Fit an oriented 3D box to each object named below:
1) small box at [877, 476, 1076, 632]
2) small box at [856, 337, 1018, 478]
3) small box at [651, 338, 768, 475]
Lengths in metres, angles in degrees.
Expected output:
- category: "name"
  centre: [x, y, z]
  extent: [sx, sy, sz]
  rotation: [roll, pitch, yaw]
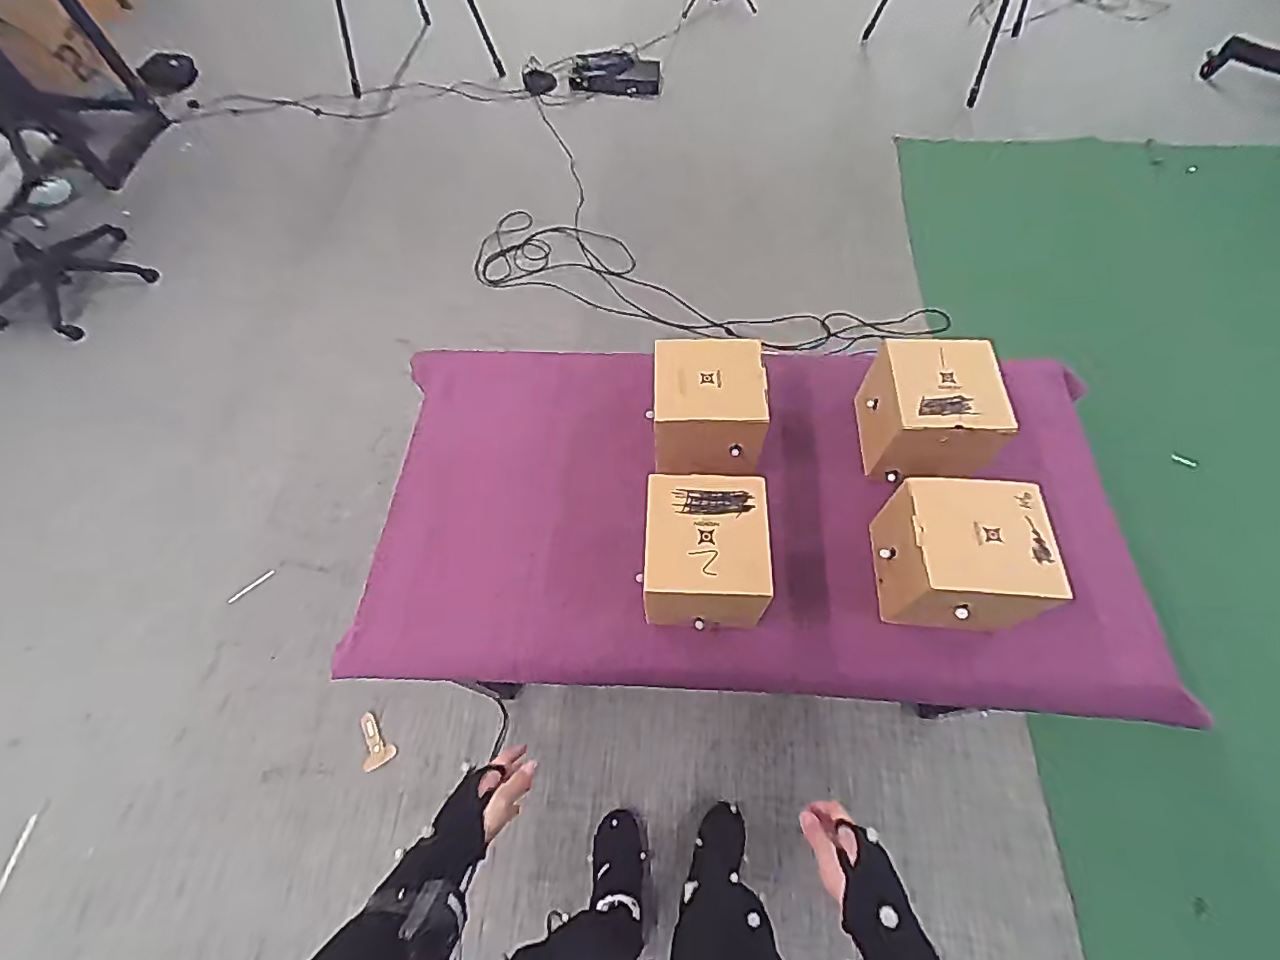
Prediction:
- category: "small box"
  centre: [0.450, 0.109, 0.764]
  extent: [0.179, 0.176, 0.168]
  rotation: [3, 61, 5]
- category: "small box"
  centre: [0.468, -0.110, 0.884]
  extent: [0.168, 0.176, 0.179]
  rotation: [2, 61, 4]
- category: "small box"
  centre: [0.110, -0.119, 0.909]
  extent: [0.179, 0.176, 0.168]
  rotation: [0, 61, 4]
